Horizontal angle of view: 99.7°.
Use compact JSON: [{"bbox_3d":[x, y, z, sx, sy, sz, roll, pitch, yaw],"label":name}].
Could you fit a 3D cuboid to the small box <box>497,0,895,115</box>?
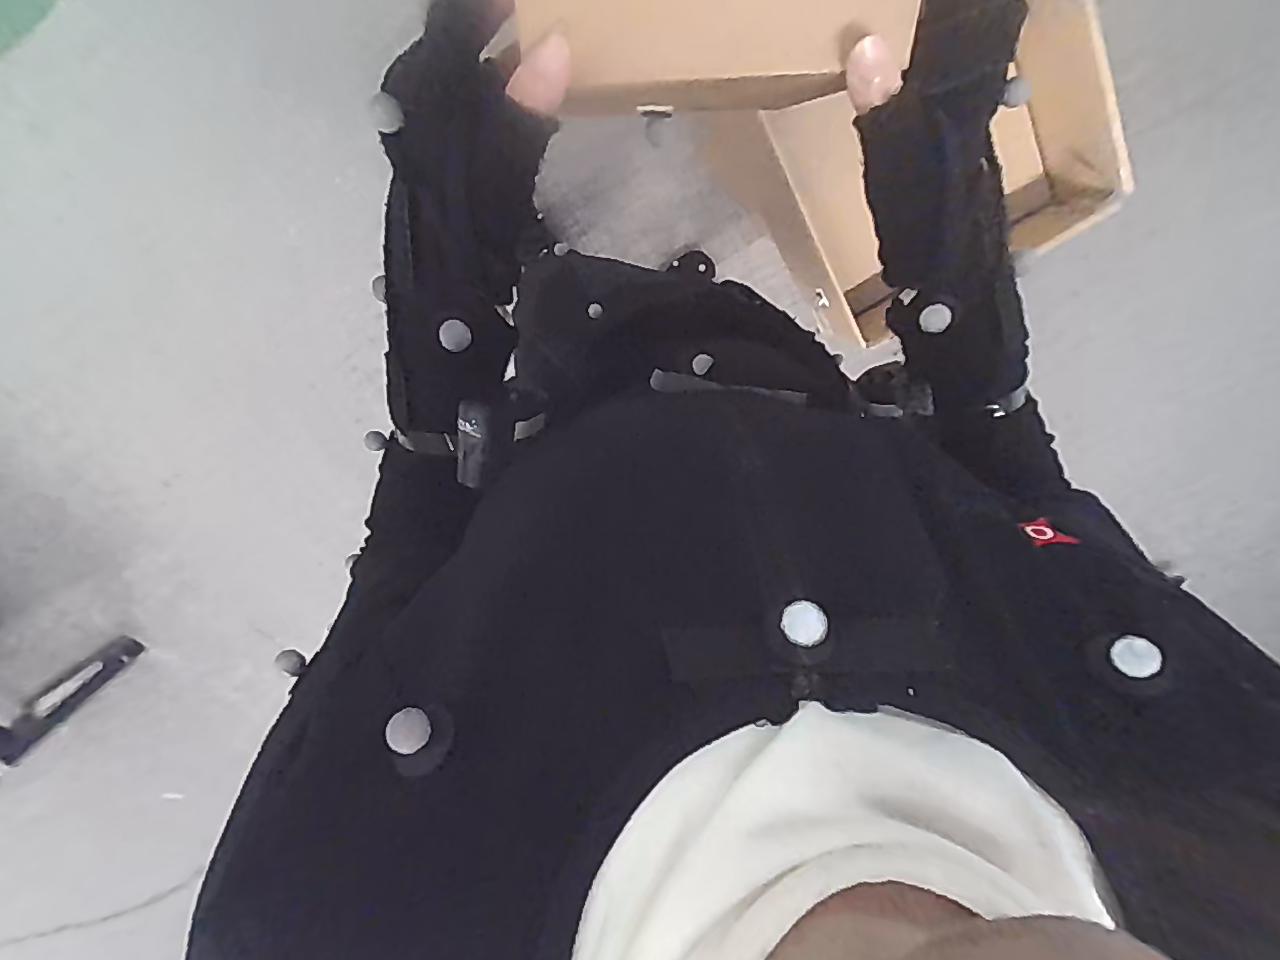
[{"bbox_3d":[0.014,-0.288,0.256,0.168,0.176,0.179,-5,121,-3],"label":"small box"}]
